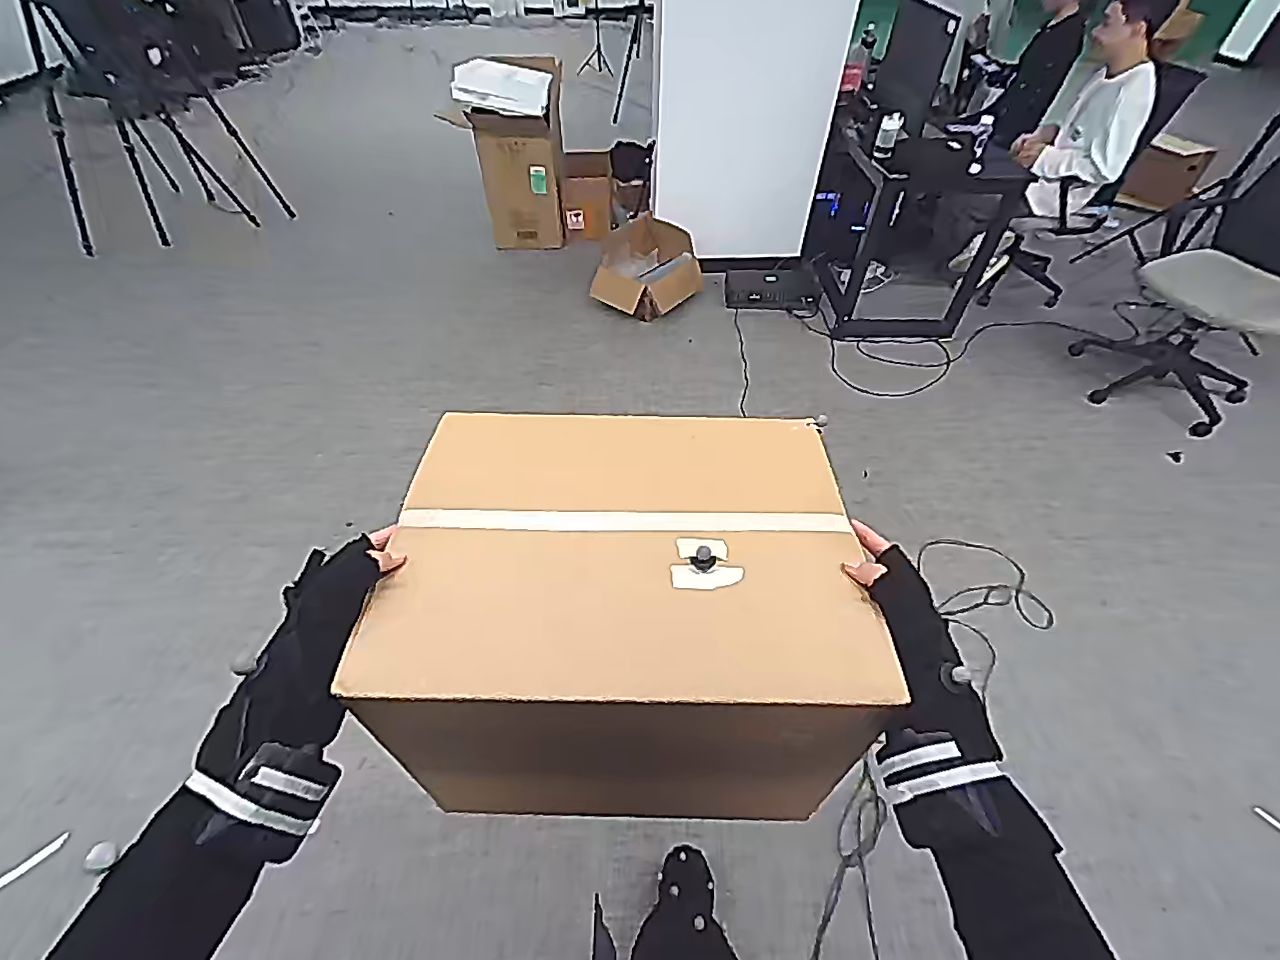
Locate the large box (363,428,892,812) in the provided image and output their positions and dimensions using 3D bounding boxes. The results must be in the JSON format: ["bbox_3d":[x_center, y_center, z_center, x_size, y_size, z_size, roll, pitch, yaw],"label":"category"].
[{"bbox_3d":[-0.012,0.156,0.607,0.408,0.320,0.320,1,45,0],"label":"large box"}]
